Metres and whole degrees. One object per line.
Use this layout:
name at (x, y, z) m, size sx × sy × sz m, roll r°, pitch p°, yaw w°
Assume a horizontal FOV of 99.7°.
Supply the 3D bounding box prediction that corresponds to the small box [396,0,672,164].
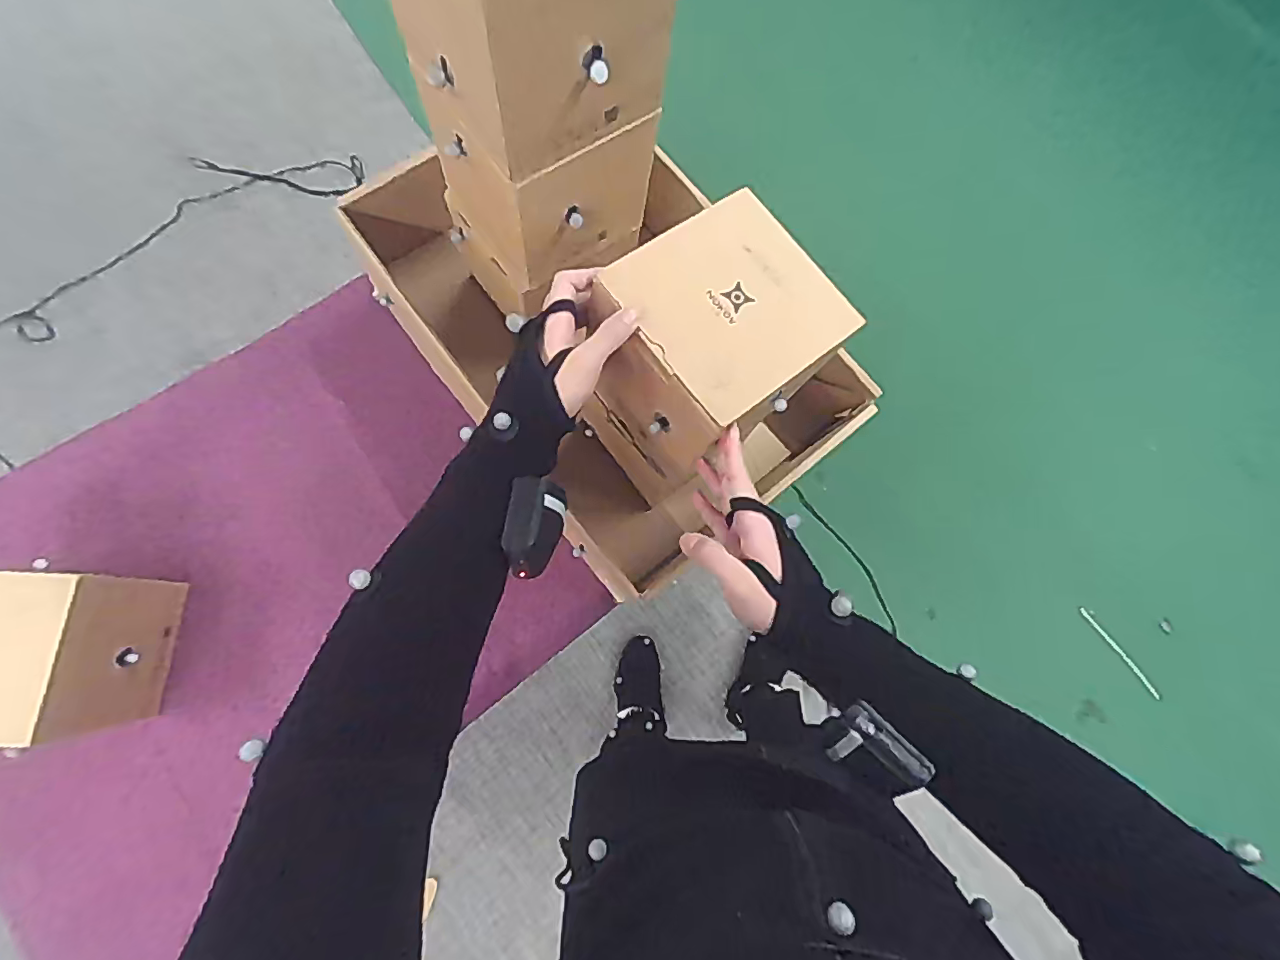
small box at (-0.084, -0.382, 0.414) m, size 0.168 × 0.176 × 0.179 m, roll -35°, pitch 84°, yaw -13°

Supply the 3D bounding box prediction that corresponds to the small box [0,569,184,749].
small box at (-0.667, 0.188, 0.600) m, size 0.179 × 0.176 × 0.168 m, roll 5°, pitch 75°, yaw -5°

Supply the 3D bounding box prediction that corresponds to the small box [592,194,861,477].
small box at (0.066, -0.125, 0.528) m, size 0.179 × 0.176 × 0.168 m, roll -35°, pitch 84°, yaw -17°

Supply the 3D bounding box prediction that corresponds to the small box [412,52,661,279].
small box at (-0.101, -0.344, 0.573) m, size 0.168 × 0.176 × 0.179 m, roll -35°, pitch 83°, yaw -12°
